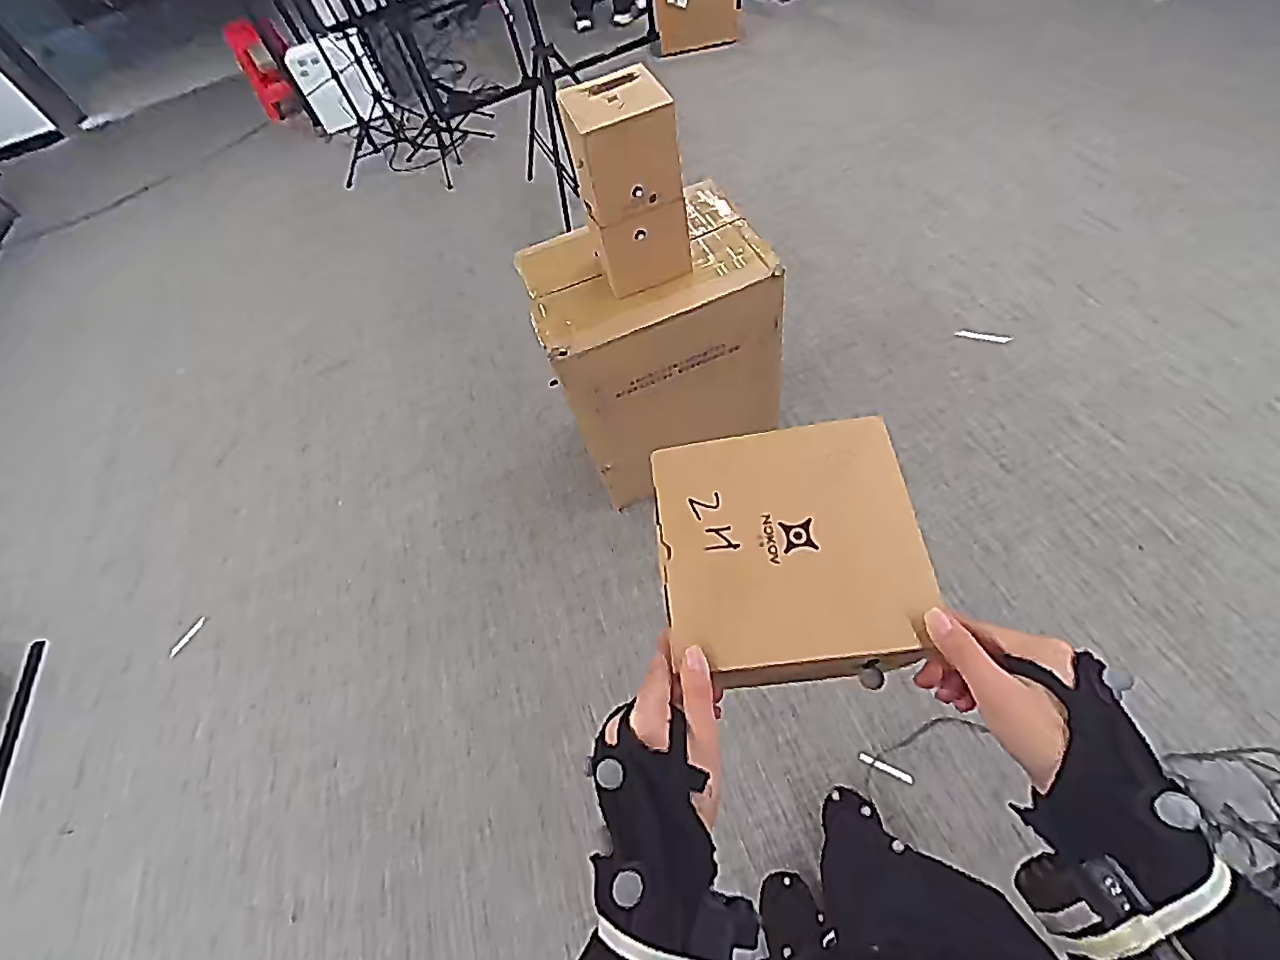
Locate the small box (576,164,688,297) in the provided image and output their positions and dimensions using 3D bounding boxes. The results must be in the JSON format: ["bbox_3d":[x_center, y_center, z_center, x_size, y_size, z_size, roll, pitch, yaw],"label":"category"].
[{"bbox_3d":[-0.013,-0.514,1.128,0.179,0.176,0.168,-21,56,-2],"label":"small box"}]

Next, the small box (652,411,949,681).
[{"bbox_3d":[0.113,0.066,0.445,0.179,0.176,0.168,-9,64,7],"label":"small box"}]
